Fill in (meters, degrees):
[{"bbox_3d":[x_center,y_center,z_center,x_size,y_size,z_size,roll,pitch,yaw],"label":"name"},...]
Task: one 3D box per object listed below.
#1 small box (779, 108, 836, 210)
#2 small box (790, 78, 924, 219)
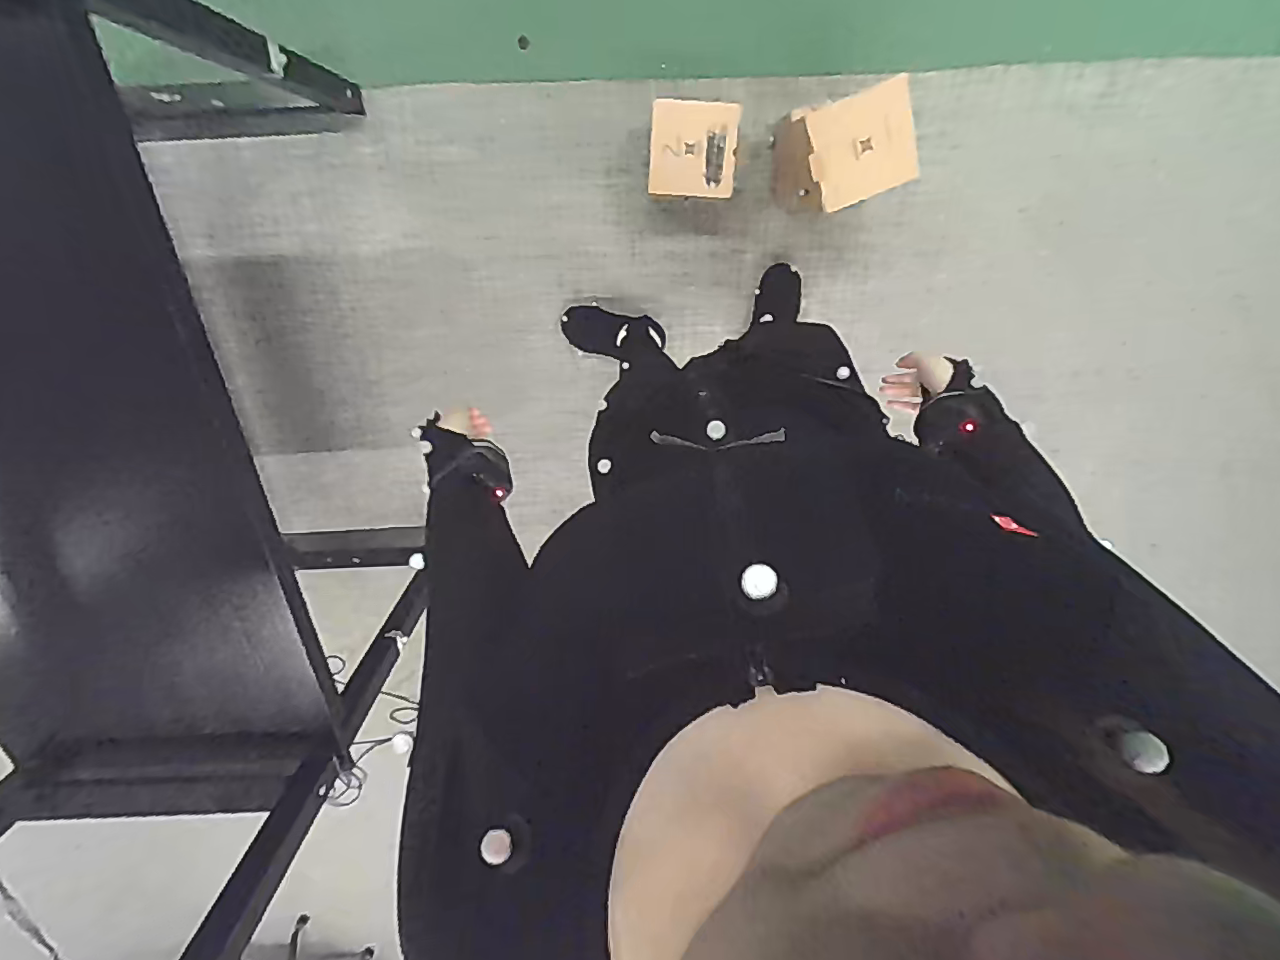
[{"bbox_3d":[0.397,-0.677,1.147,0.179,0.176,0.168,-9,115,3],"label":"small box"},{"bbox_3d":[0.391,-0.600,1.004,0.179,0.176,0.168,-20,115,8],"label":"small box"}]
